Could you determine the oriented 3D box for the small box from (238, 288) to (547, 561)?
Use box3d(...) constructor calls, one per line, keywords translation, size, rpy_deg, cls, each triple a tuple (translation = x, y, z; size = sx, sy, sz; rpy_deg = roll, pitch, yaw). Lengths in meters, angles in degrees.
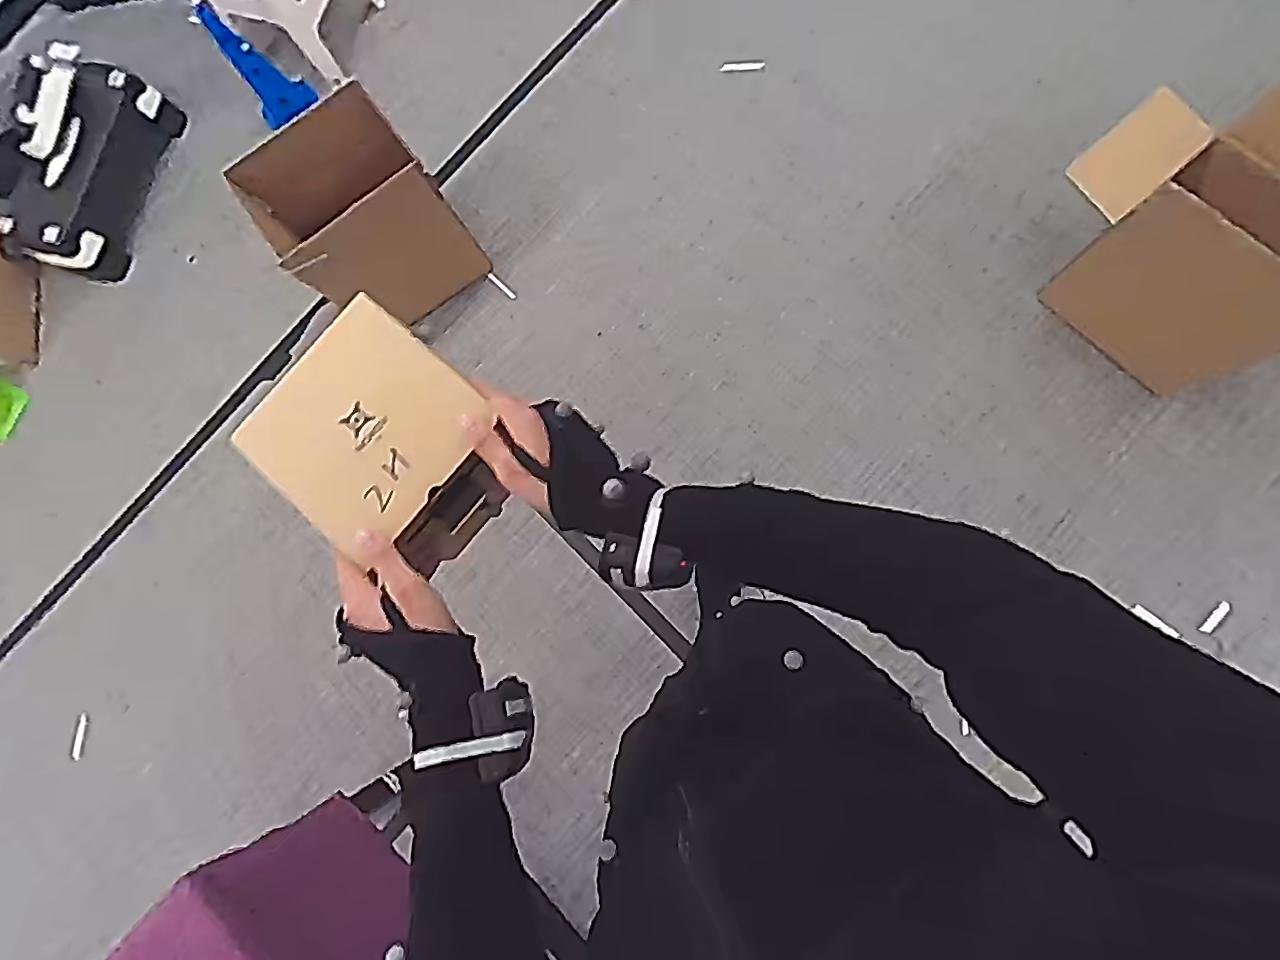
box3d(translation=(-0.216, -0.040, 0.524), size=(0.179, 0.176, 0.168), rpy_deg=(41, 87, 3), cls="small box")
